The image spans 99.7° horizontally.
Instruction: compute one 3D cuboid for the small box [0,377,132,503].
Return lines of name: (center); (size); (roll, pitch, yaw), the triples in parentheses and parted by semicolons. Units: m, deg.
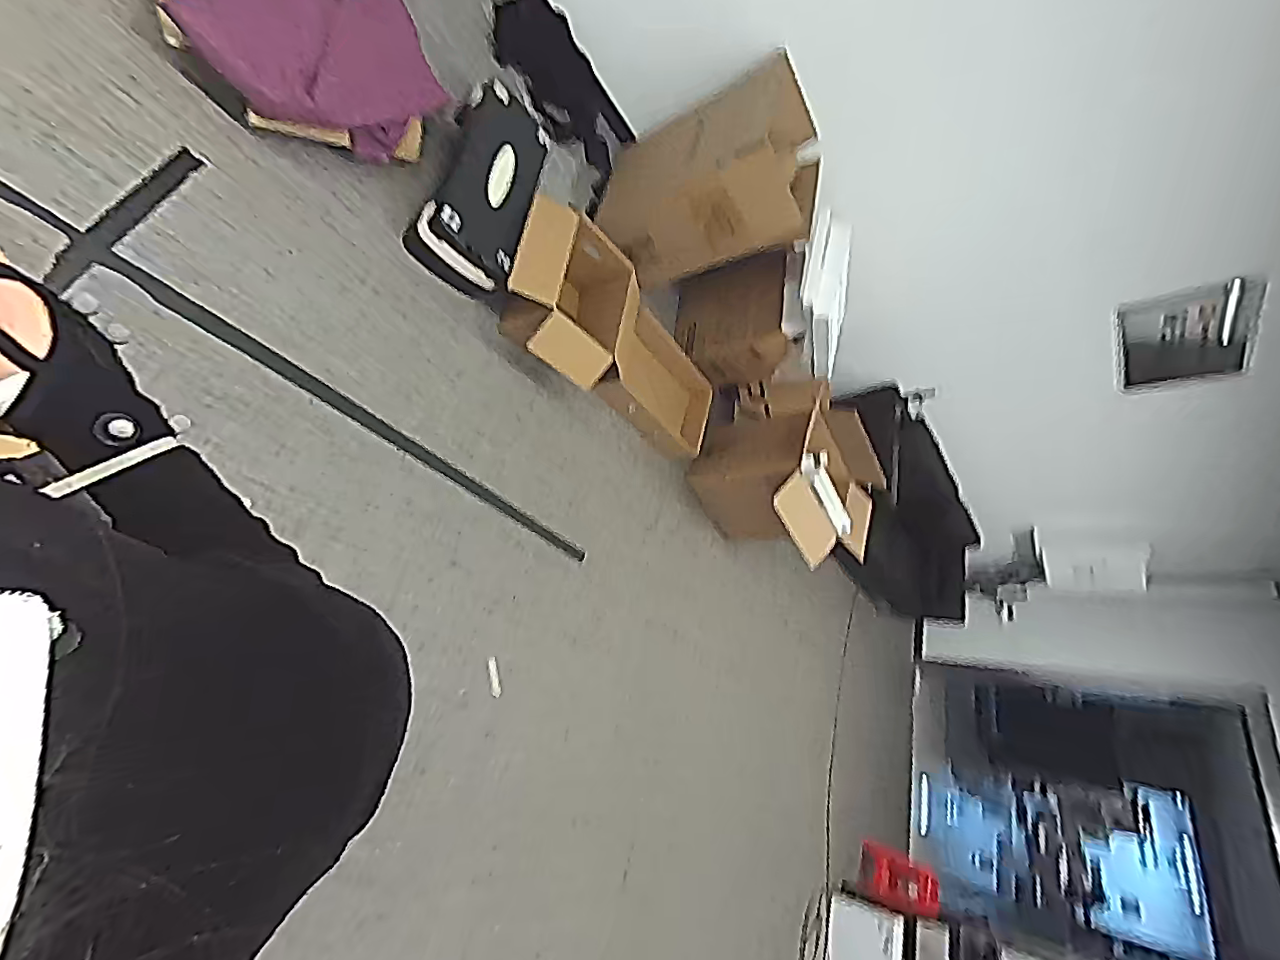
small box: (-1.105, -0.063, 0.999); (0.179, 0.176, 0.168); (35, 59, -43)
